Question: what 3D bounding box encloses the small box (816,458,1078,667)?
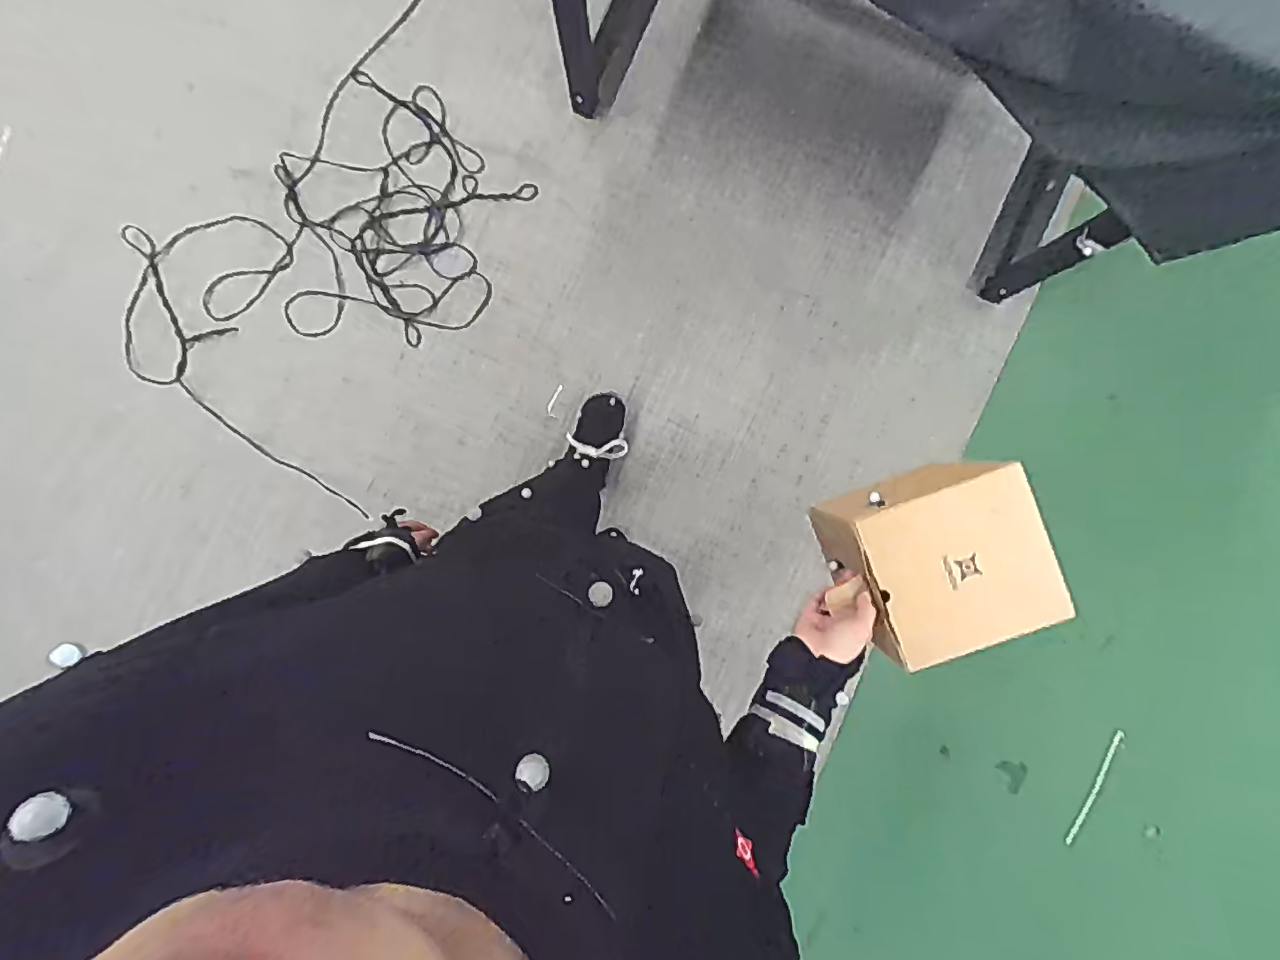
[{"bbox_3d":[0.327,0.078,0.613,0.179,0.176,0.168,-21,92,4],"label":"small box"}]
